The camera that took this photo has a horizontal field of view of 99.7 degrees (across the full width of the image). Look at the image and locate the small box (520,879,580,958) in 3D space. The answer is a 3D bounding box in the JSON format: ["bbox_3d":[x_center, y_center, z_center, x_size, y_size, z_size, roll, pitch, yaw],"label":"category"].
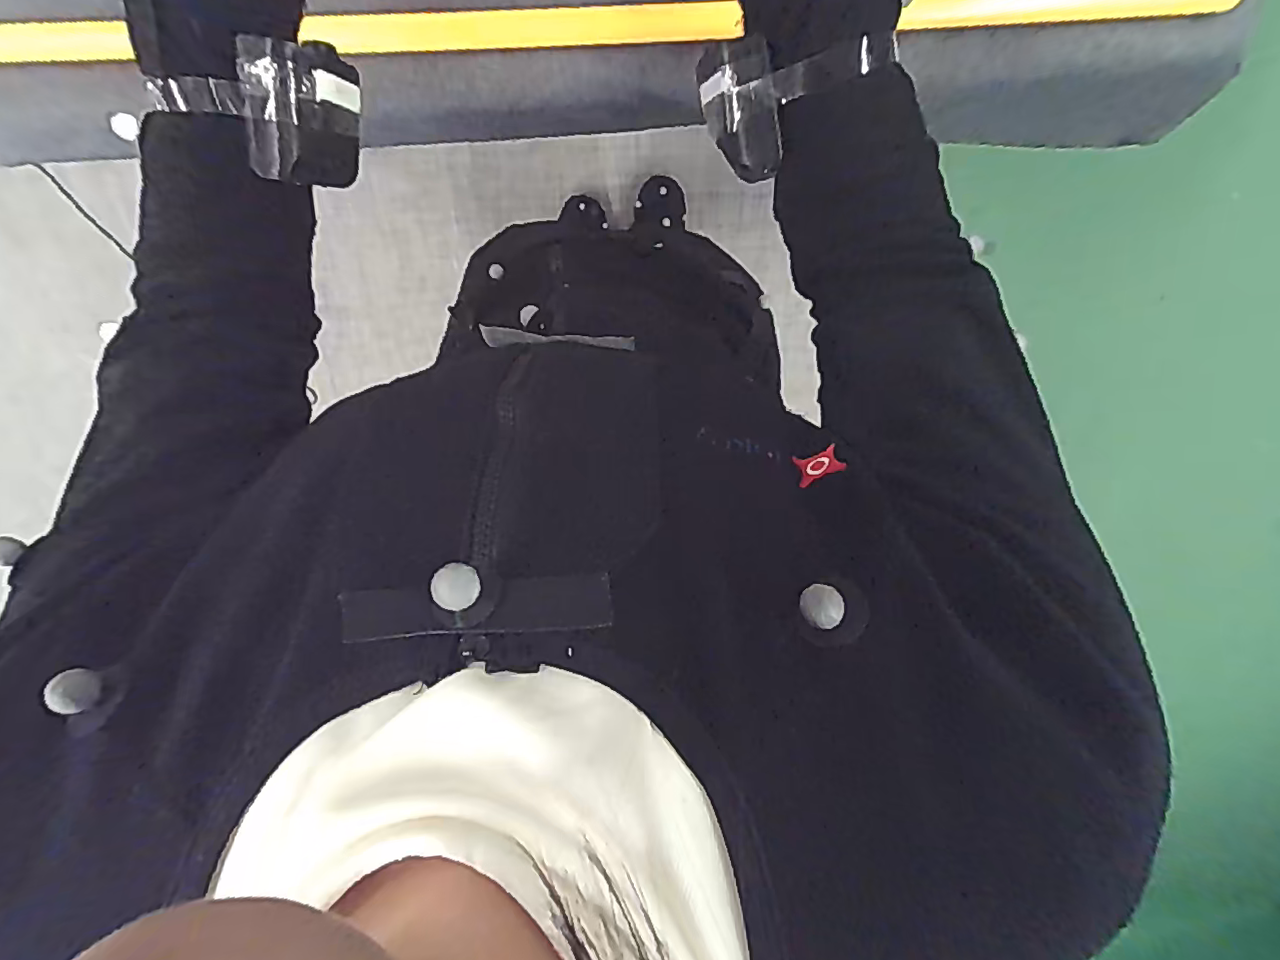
[{"bbox_3d":[-0.311,1.540,1.903,0.168,0.176,0.179,-9,122,2],"label":"small box"}]
